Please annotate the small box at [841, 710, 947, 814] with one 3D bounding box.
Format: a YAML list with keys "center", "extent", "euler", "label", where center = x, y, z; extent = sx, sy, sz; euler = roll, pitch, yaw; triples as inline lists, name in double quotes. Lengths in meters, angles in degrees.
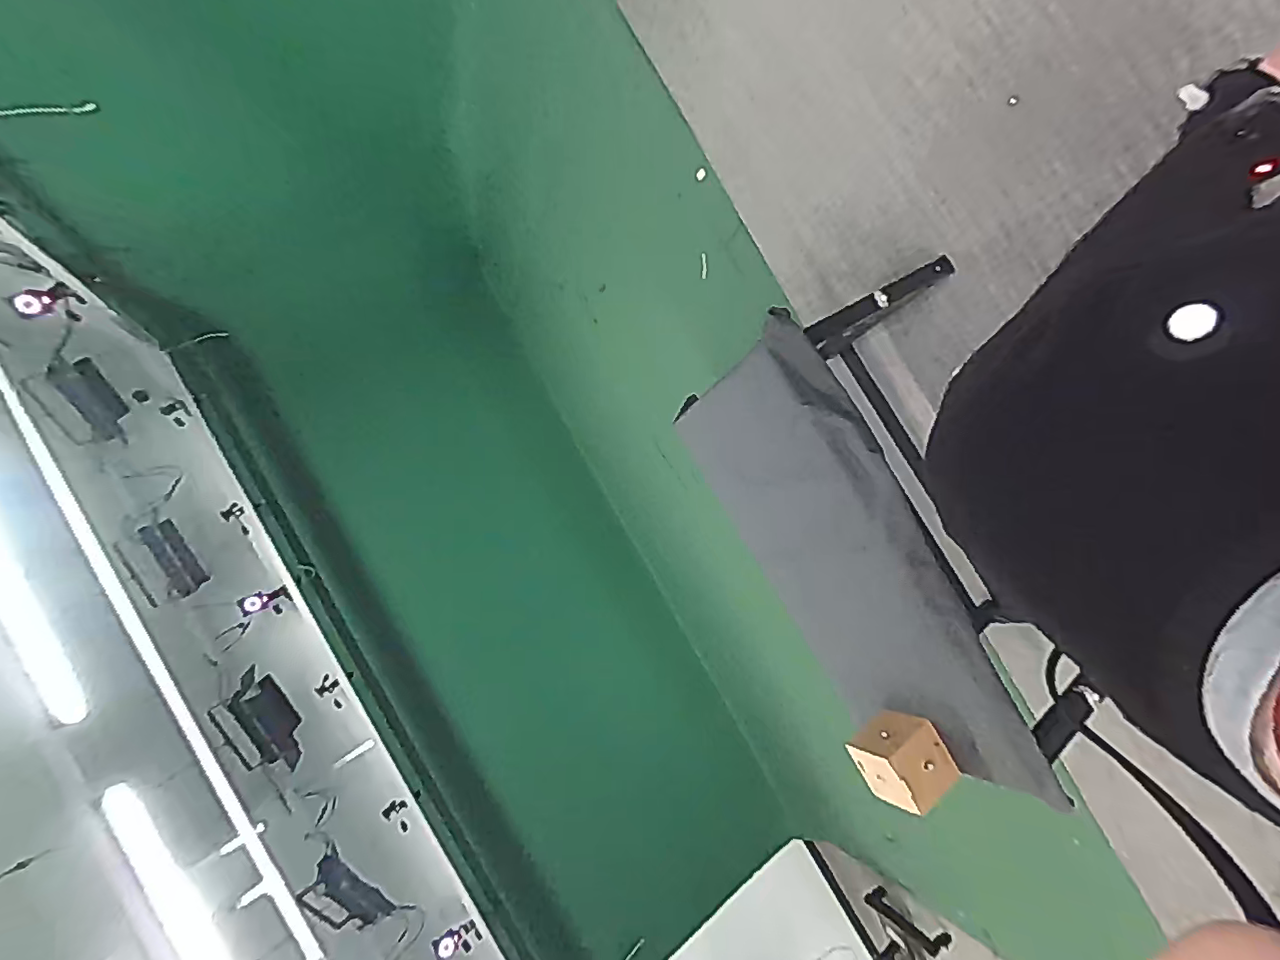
- center: [0.693, 0.751, 1.465]
  extent: [0.168, 0.176, 0.179]
  euler: [61, 157, 3]
  label: "small box"
